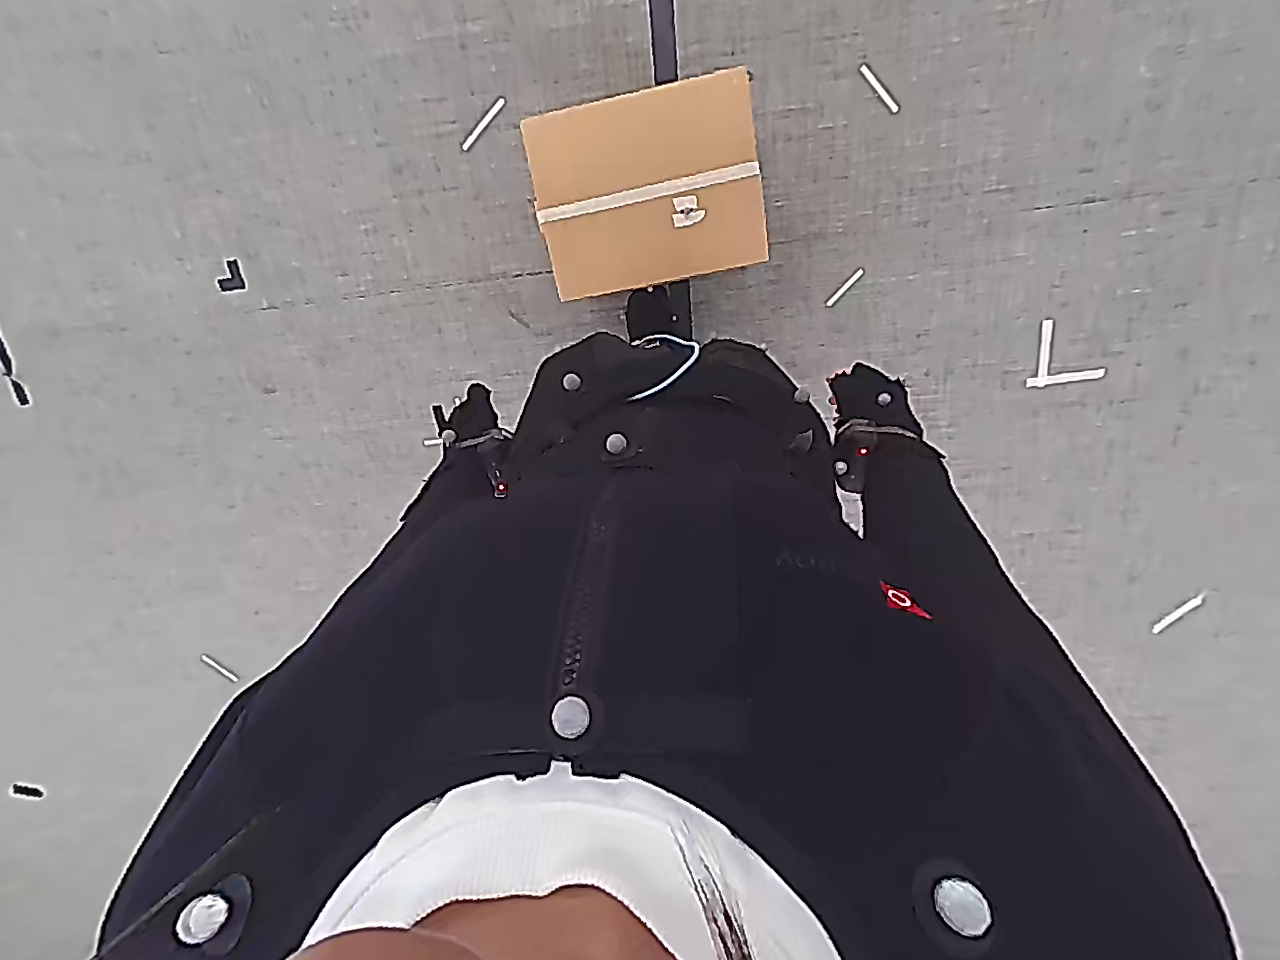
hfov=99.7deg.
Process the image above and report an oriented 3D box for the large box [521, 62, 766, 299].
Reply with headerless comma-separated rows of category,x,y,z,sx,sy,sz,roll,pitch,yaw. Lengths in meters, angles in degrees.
large box,0.017,-0.574,1.113,0.408,0.320,0.320,-9,110,6
